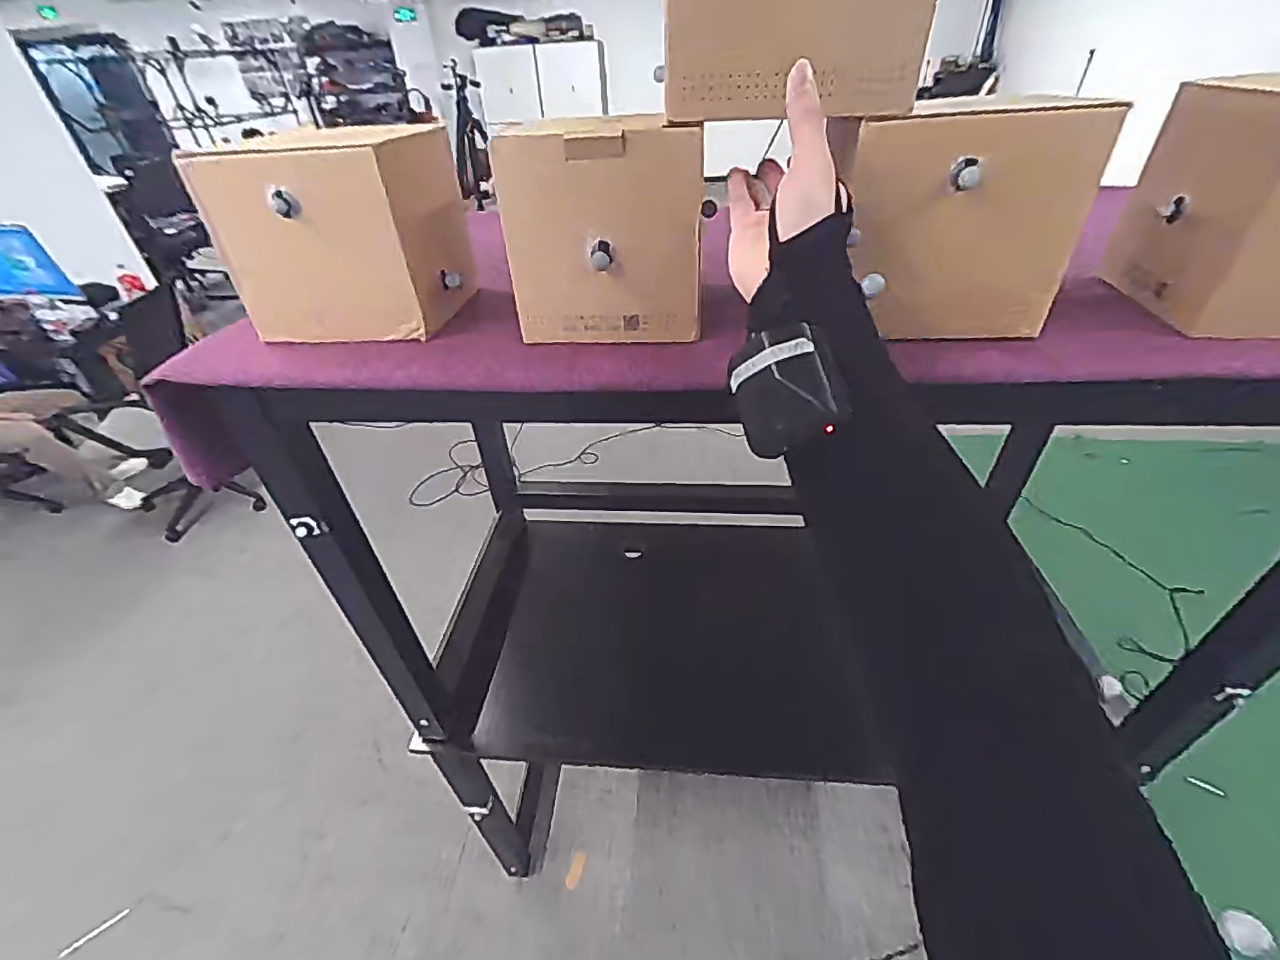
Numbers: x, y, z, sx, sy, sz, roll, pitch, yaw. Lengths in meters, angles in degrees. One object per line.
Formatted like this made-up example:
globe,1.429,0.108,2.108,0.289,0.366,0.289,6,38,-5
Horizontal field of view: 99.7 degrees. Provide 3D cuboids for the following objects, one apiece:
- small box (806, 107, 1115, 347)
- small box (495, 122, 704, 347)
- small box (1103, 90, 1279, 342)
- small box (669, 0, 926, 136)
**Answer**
small box,0.260,-0.231,0.495,0.179,0.176,0.168,0,36,8
small box,-0.021,-0.238,0.525,0.168,0.176,0.179,1,37,6
small box,0.544,-0.223,0.457,0.179,0.176,0.168,3,39,10
small box,0.111,-0.369,0.417,0.179,0.176,0.168,1,36,4
